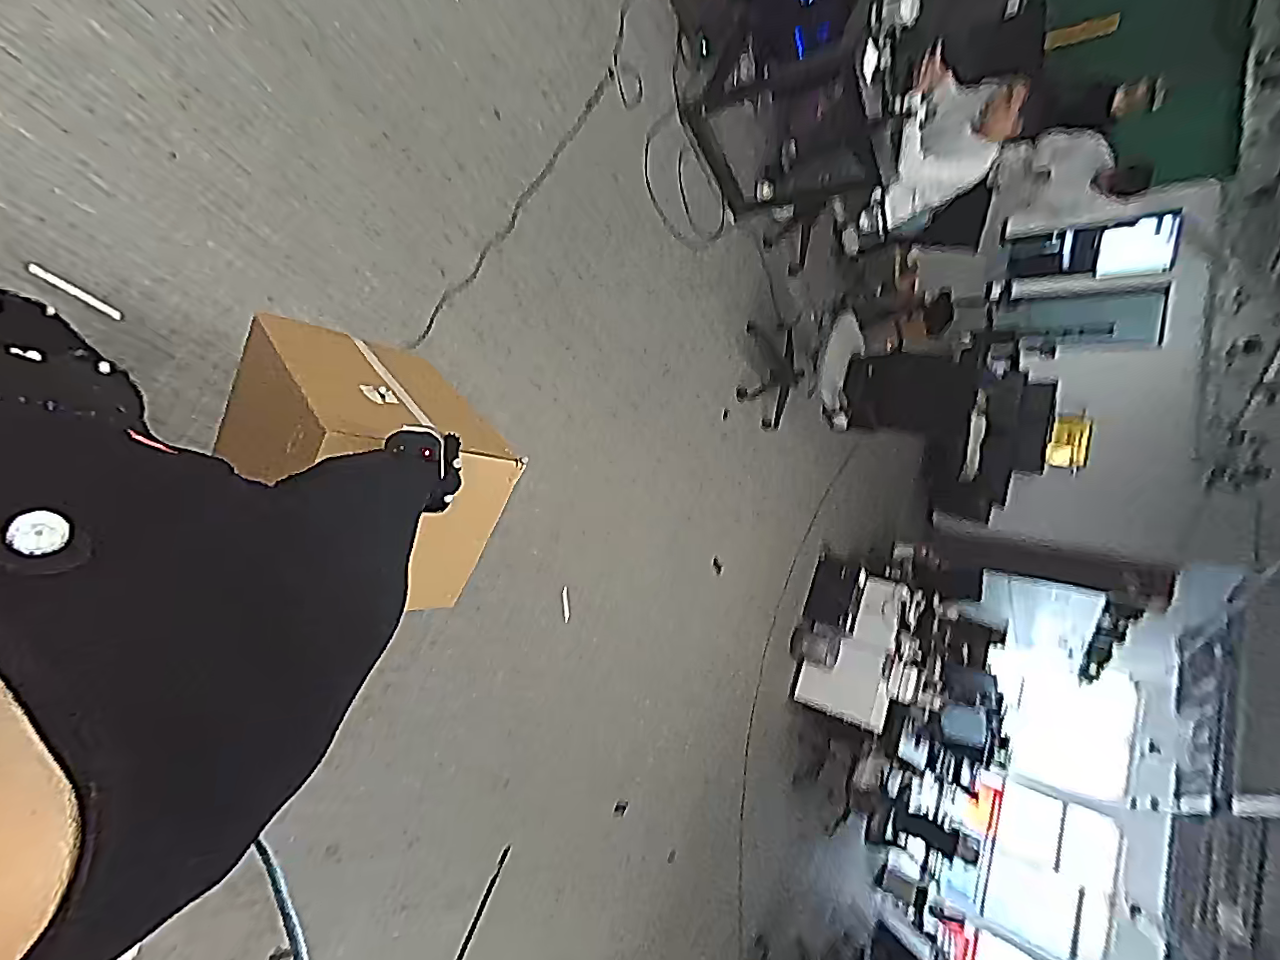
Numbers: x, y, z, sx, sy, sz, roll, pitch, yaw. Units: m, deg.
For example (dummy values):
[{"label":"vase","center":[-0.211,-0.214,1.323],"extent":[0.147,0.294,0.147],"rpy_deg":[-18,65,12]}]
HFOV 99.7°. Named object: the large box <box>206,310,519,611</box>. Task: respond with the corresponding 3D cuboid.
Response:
[{"label":"large box","center":[-0.493,-0.032,0.941],"extent":[0.320,0.408,0.320],"rpy_deg":[8,117,-52]}]
